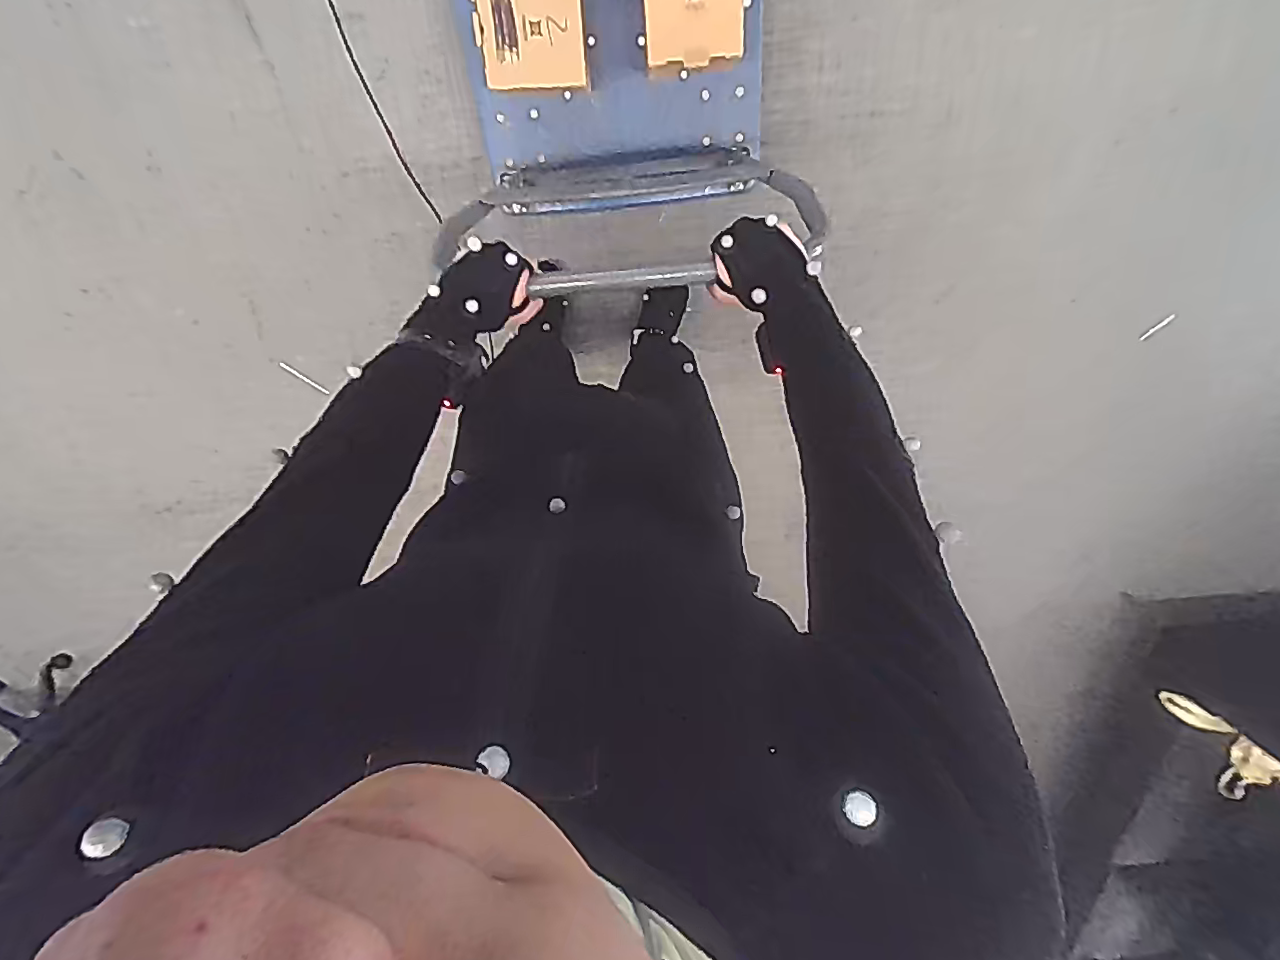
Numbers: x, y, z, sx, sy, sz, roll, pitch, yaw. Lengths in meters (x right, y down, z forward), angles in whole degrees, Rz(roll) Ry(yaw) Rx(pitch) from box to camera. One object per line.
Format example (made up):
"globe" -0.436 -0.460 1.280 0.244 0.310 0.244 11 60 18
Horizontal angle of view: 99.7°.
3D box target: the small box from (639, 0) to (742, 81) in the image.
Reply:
"small box" 0.085 -0.836 0.964 0.168 0.176 0.179 -5 121 2
